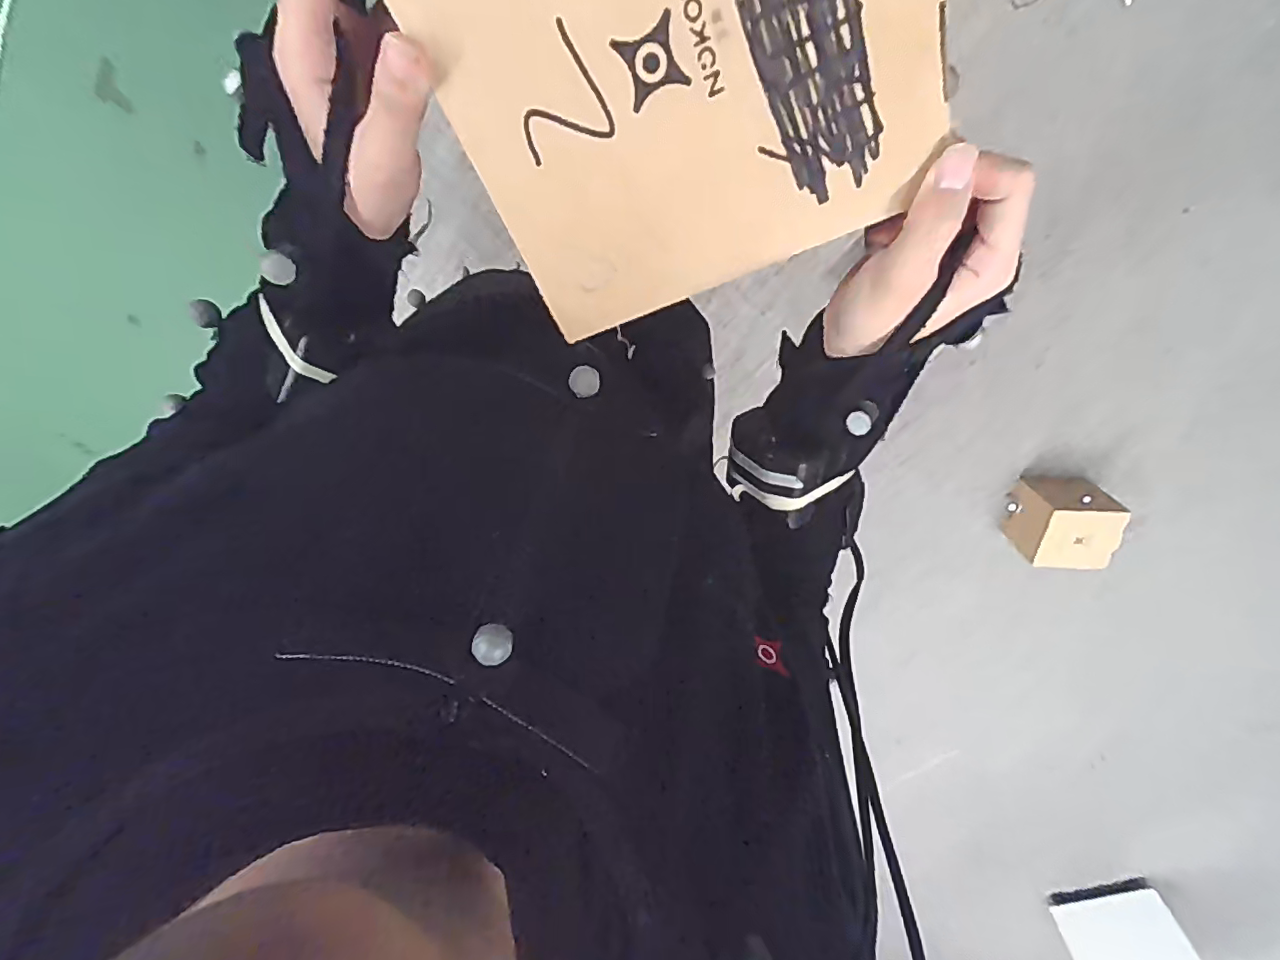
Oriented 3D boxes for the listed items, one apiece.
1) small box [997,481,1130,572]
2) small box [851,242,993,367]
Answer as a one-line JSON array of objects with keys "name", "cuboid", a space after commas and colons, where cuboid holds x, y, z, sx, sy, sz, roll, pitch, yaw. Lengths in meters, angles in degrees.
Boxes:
[{"name": "small box", "cuboid": [1.047, 0.112, 1.355, 0.179, 0.176, 0.168, 2, 118, 5]}, {"name": "small box", "cuboid": [0.572, -0.370, 1.122, 0.179, 0.176, 0.168, 37, 116, -16]}]
